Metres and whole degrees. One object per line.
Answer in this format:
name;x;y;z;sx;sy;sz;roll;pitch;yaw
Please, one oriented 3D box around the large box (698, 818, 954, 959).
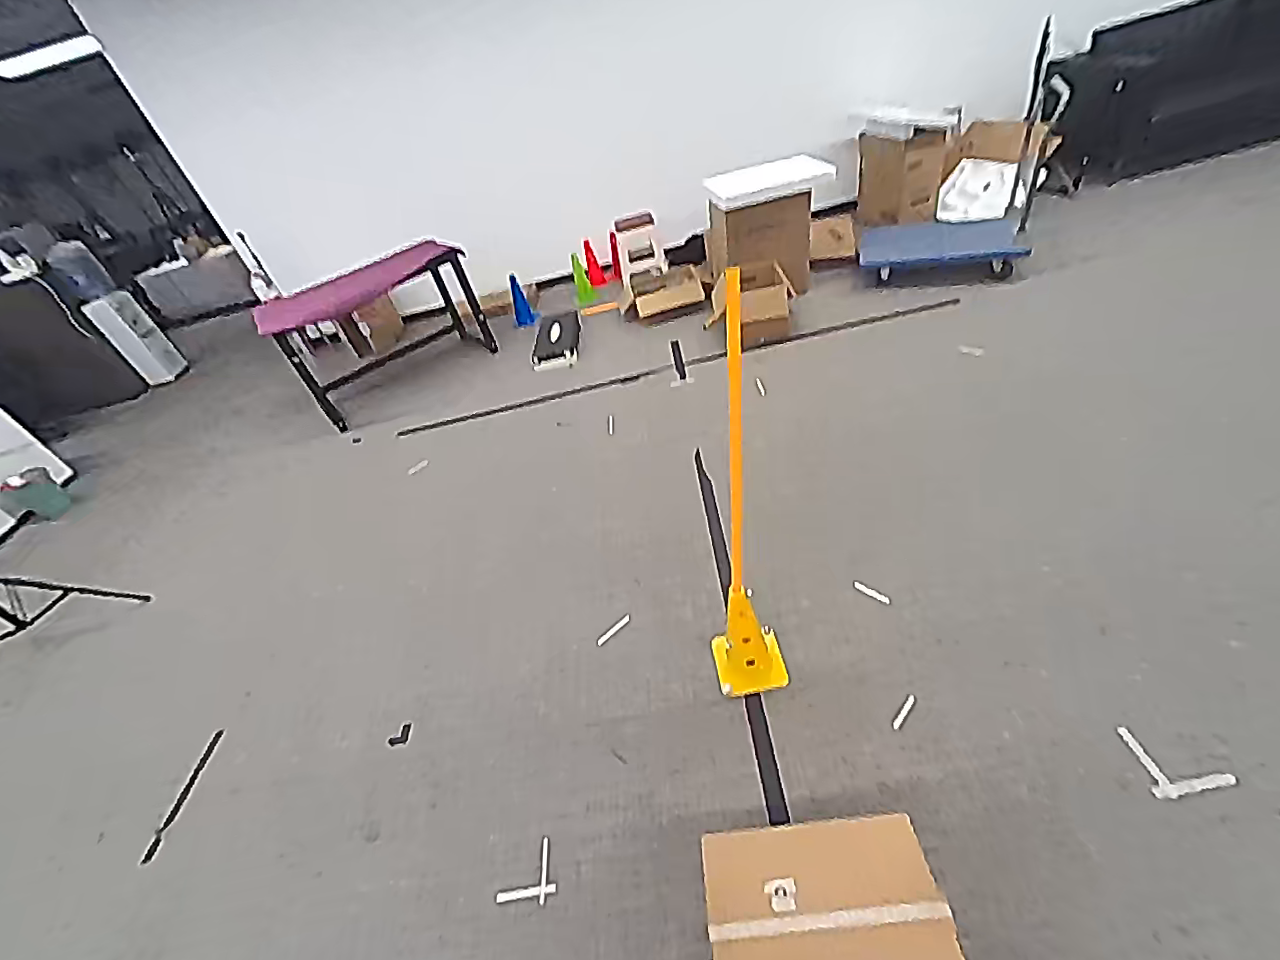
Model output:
large box;0.347;0.898;1.029;0.408;0.320;0.320;-11;35;5
